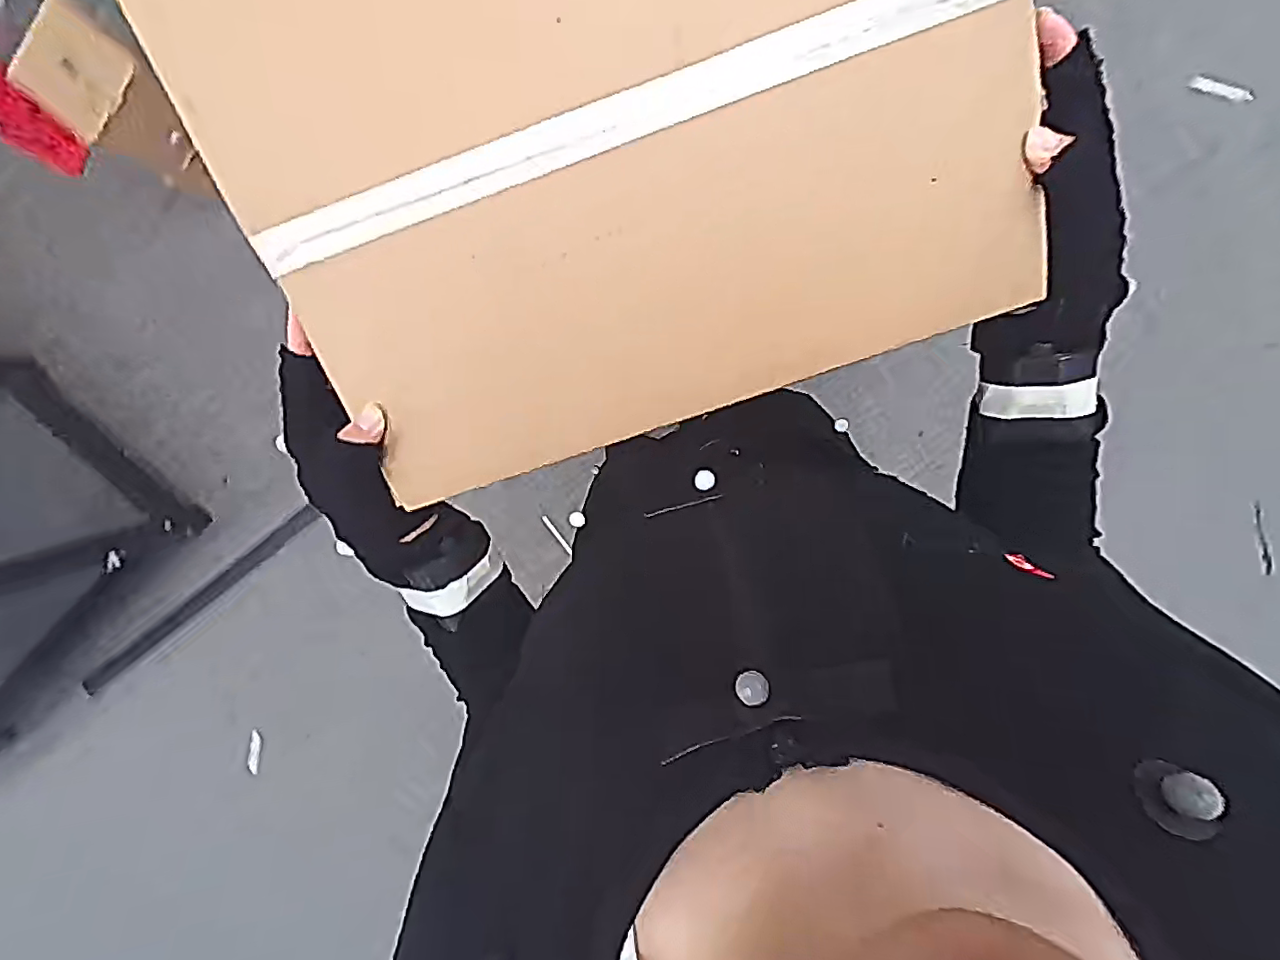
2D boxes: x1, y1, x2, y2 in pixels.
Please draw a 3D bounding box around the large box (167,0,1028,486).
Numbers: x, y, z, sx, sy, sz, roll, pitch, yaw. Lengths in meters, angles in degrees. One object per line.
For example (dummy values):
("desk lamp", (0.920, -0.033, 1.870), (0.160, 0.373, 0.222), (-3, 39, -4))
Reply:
("large box", (-0.011, -0.241, 0.423), (0.408, 0.320, 0.320), (-18, 111, 4))
